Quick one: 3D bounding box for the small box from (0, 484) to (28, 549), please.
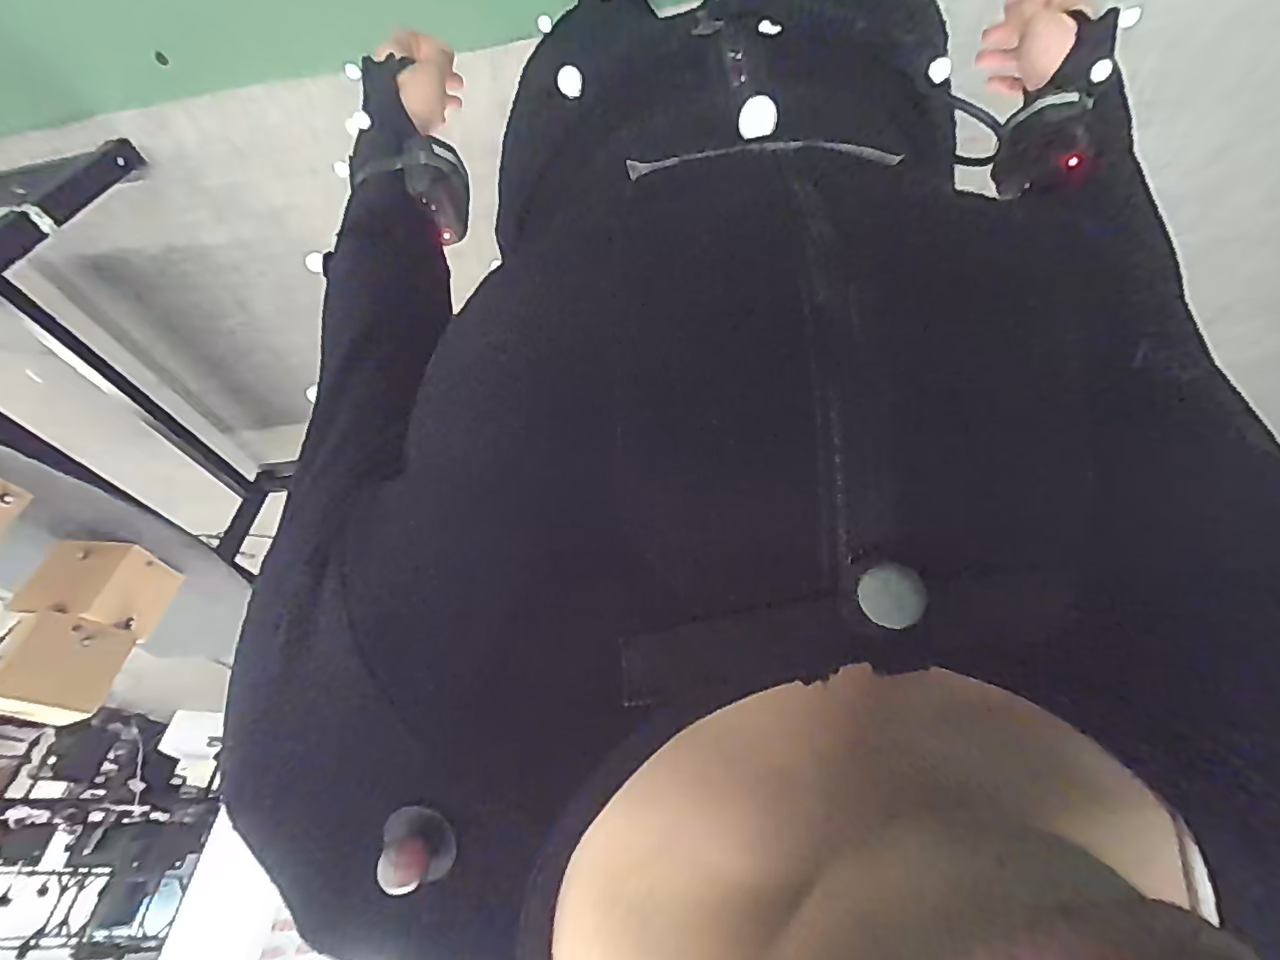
[{"bbox_3d":[-1.239,0.065,0.929,0.179,0.176,0.168,-3,143,9],"label":"small box"}]

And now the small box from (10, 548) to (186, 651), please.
[{"bbox_3d":[-1.168,0.260,1.185,0.179,0.176,0.168,2,143,2],"label":"small box"}]
